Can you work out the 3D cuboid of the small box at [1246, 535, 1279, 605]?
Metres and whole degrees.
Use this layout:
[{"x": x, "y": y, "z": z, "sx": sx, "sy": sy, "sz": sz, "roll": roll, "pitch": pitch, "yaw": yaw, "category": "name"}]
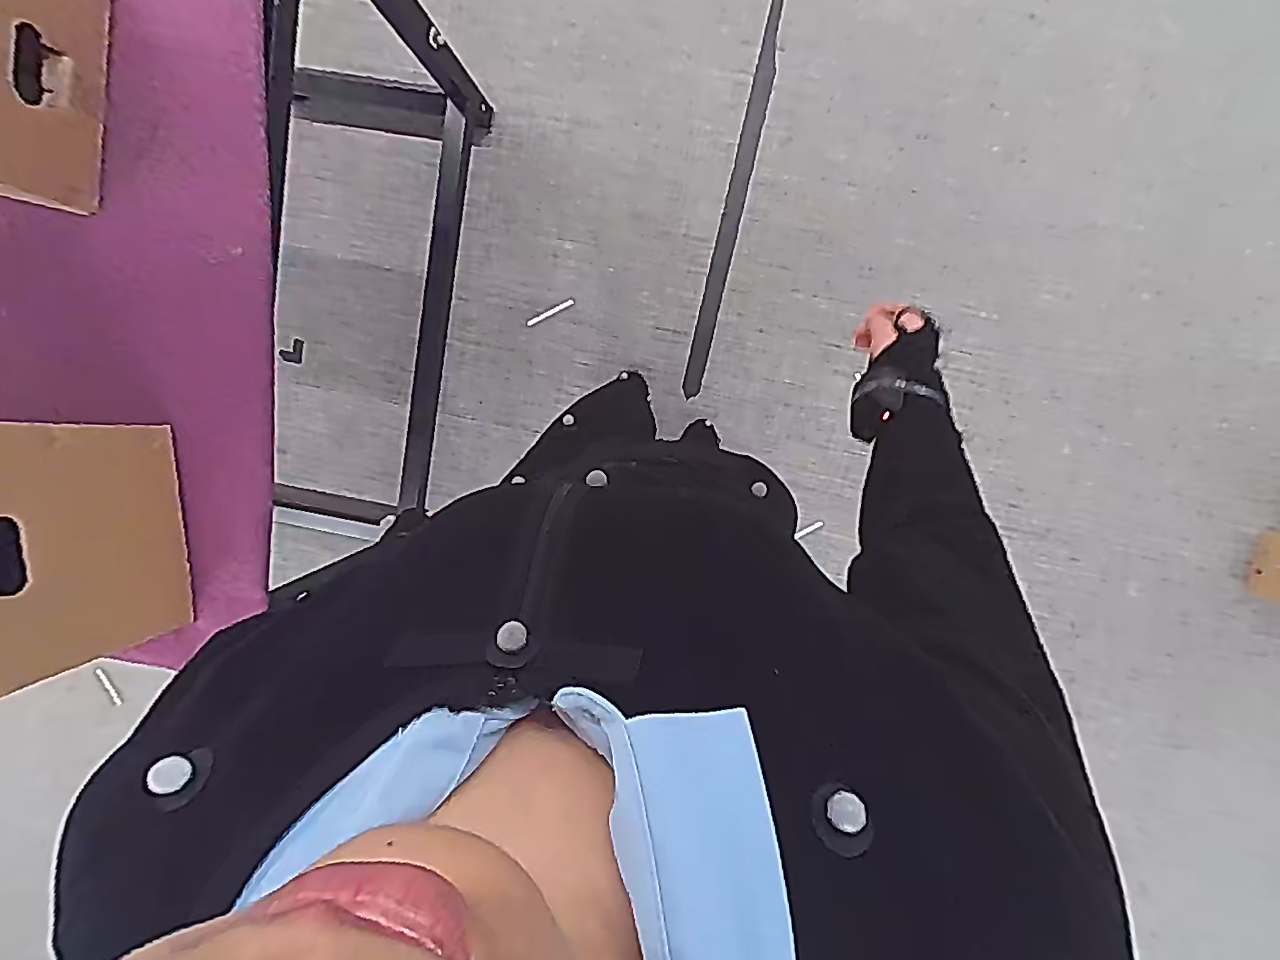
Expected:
[{"x": 1.622, "y": 0.235, "z": 1.279, "sx": 0.179, "sy": 0.176, "sz": 0.168, "roll": 9, "pitch": 98, "yaw": 4, "category": "small box"}]
